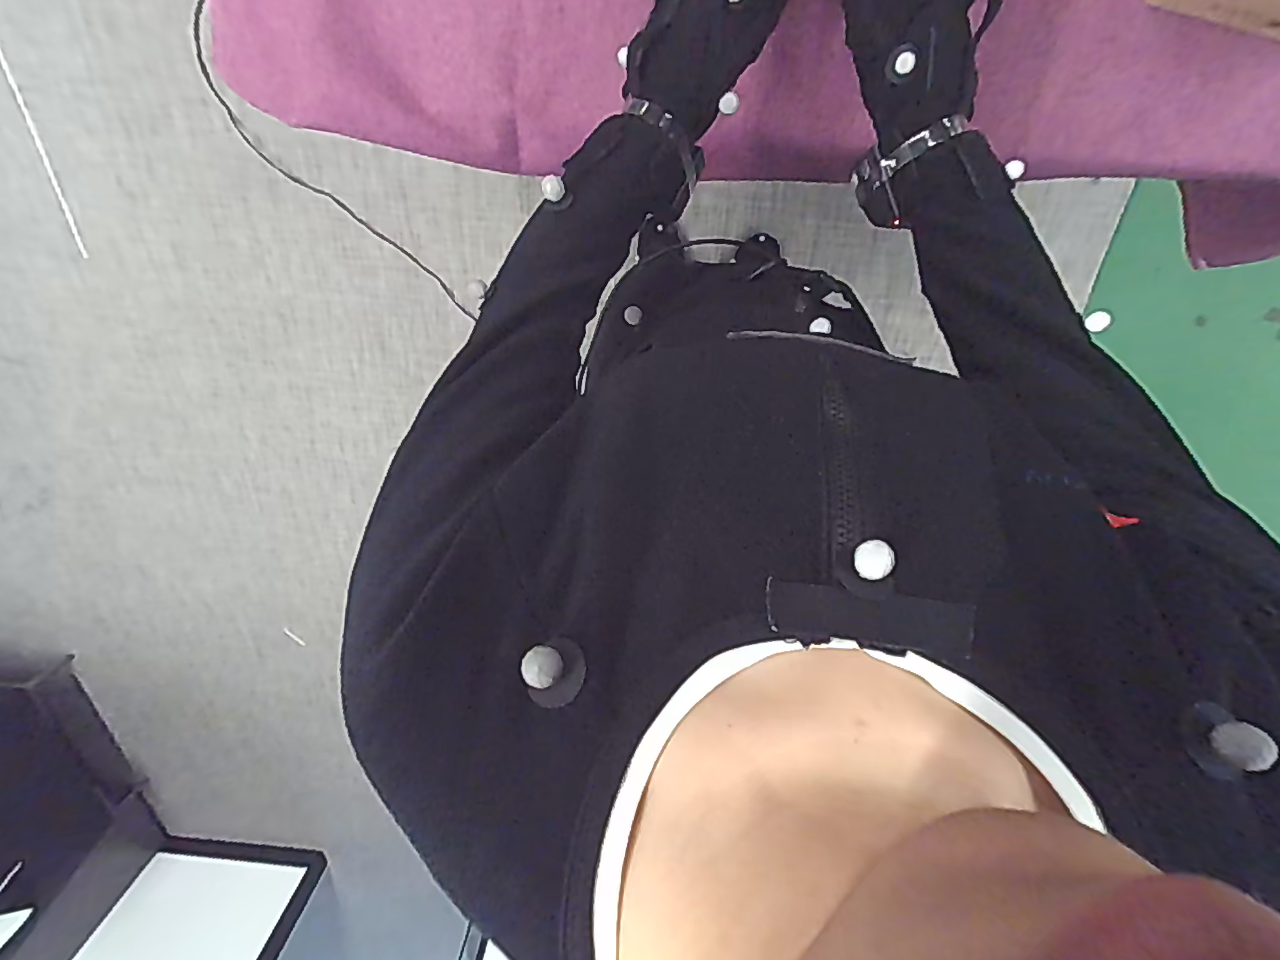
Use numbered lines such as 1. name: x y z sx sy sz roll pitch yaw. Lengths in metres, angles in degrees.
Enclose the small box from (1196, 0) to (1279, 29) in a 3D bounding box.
1. small box: 0.551 -0.455 0.382 0.168 0.176 0.179 14 118 -2
